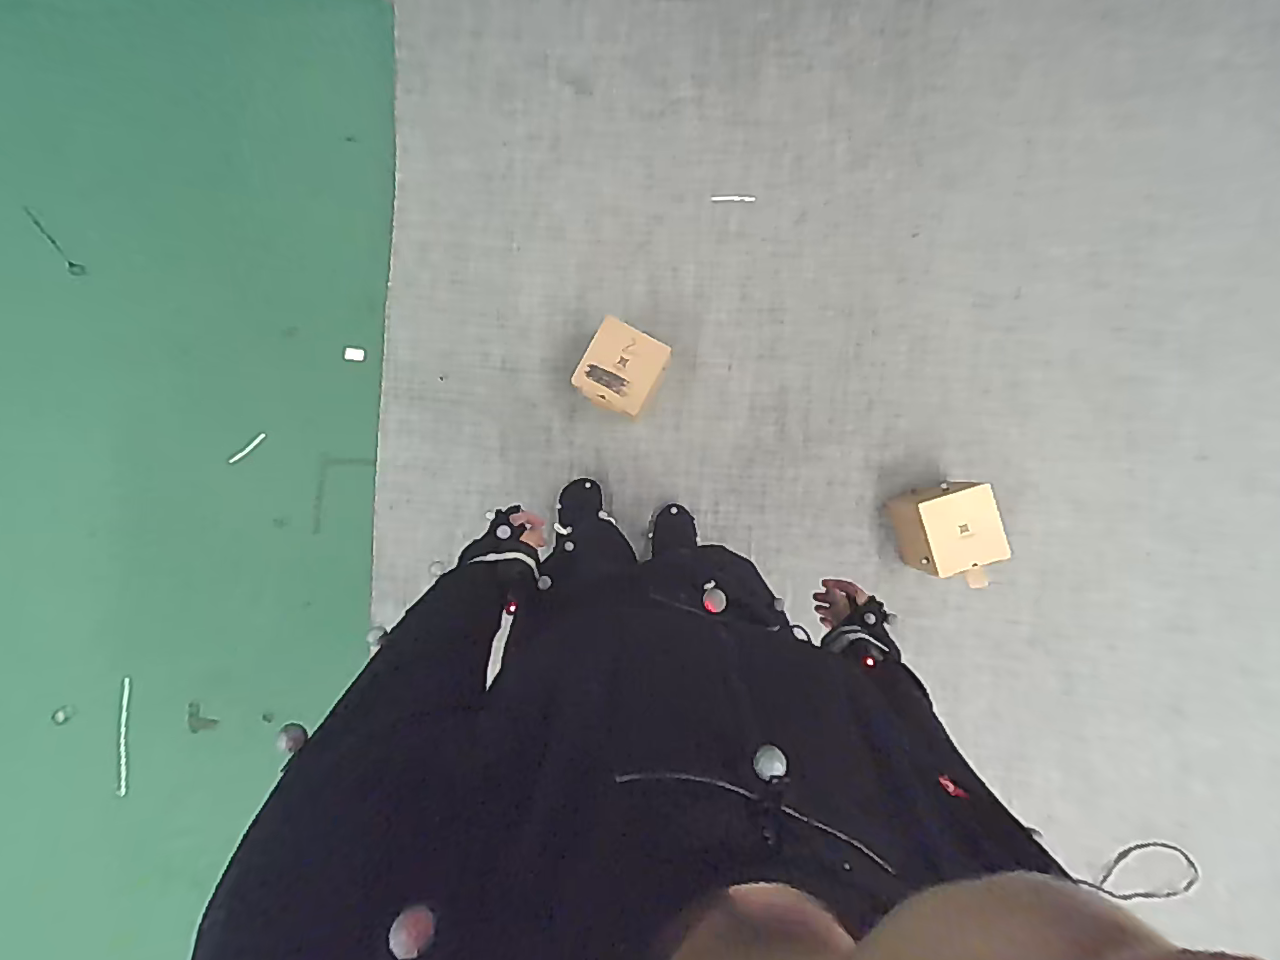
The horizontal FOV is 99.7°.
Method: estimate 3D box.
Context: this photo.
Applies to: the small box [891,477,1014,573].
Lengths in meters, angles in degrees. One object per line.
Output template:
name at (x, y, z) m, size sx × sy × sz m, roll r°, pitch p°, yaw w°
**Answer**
small box at (0.719, 0.098, 1.265) m, size 0.168 × 0.176 × 0.179 m, roll -18°, pitch 91°, yaw 2°
